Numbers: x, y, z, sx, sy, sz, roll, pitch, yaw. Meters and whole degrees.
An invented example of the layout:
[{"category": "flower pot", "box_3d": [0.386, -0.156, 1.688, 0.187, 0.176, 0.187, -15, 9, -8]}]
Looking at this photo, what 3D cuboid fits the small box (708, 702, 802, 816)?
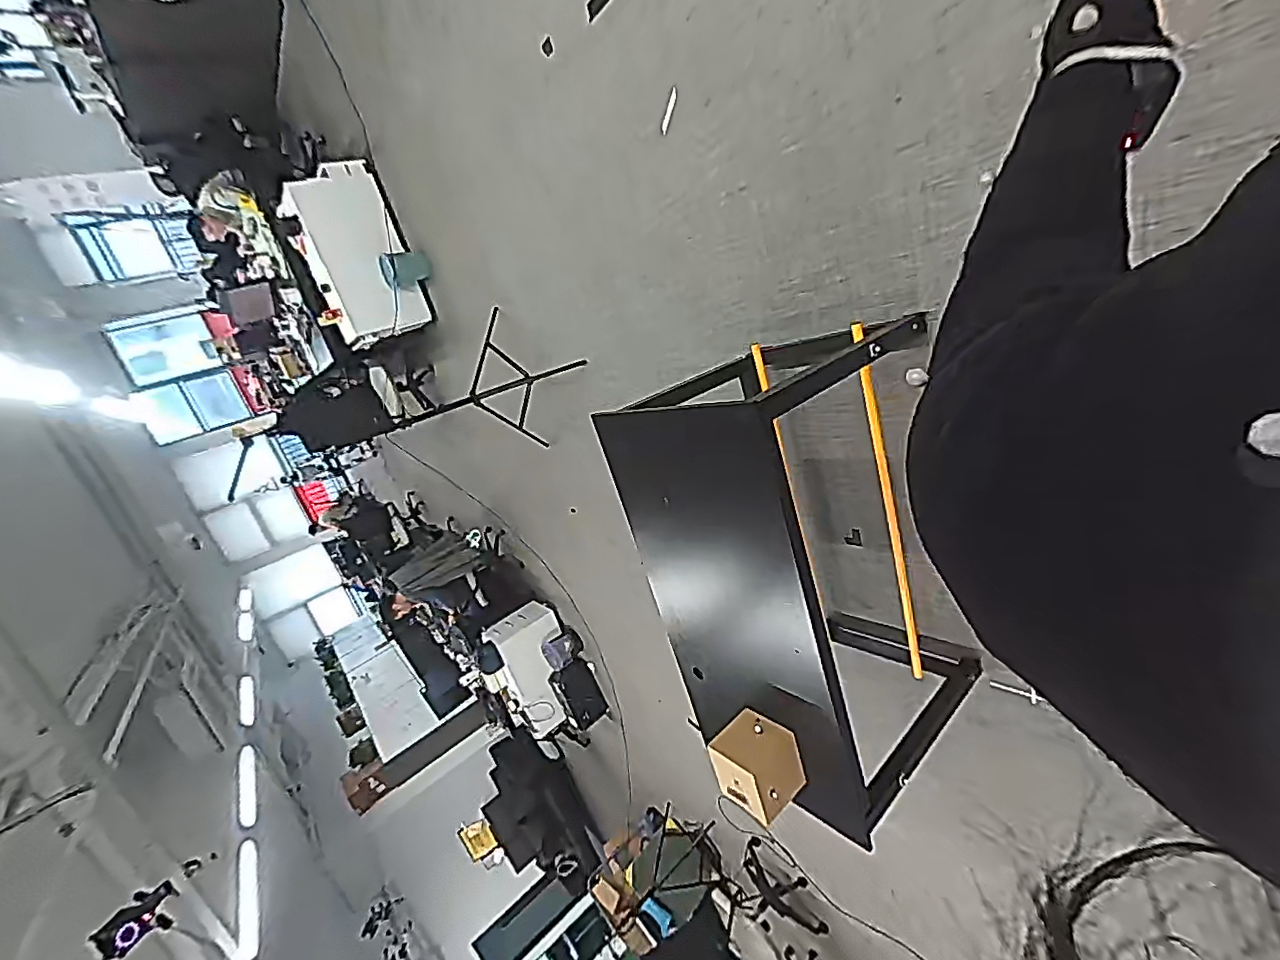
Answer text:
[{"category": "small box", "box_3d": [0.315, 0.745, 1.463, 0.168, 0.176, 0.179, 7, 119, 53]}]
